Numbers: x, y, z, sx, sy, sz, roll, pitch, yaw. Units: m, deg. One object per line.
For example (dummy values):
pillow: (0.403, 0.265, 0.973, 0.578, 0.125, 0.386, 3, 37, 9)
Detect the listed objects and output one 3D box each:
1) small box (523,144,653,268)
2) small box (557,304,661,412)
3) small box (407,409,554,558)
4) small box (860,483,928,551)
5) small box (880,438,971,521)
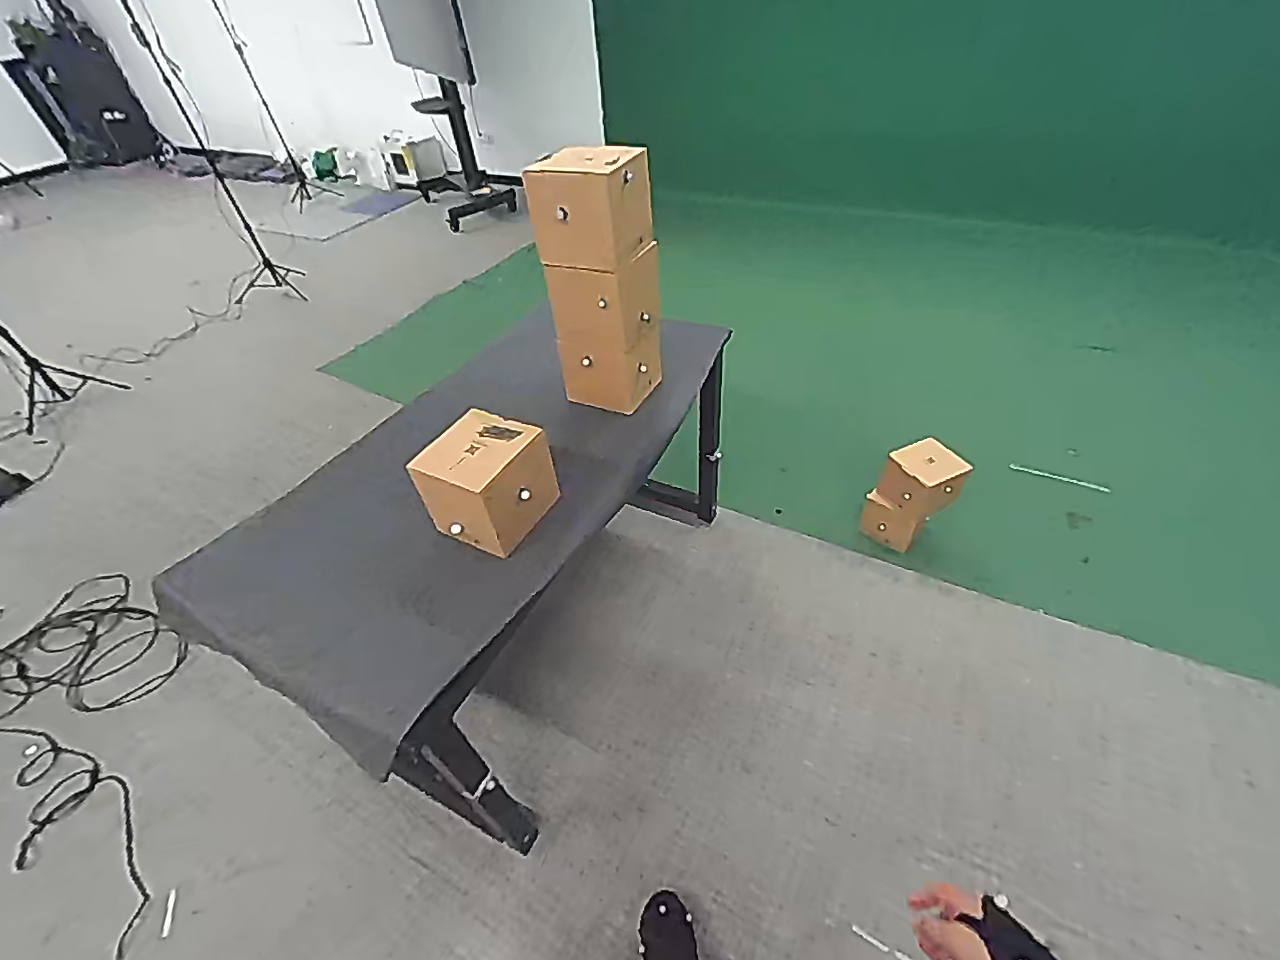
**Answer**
small box: (-0.087, -0.513, 1.012, 0.179, 0.176, 0.168, 14, 48, 21)
small box: (-0.061, -0.278, 1.240, 0.179, 0.176, 0.168, 17, 48, 23)
small box: (-0.270, 0.005, 0.966, 0.168, 0.176, 0.179, 18, 49, 23)
small box: (0.861, 0.105, 1.813, 0.168, 0.176, 0.179, 33, 55, 32)
small box: (0.876, 0.002, 1.684, 0.179, 0.176, 0.168, -20, 47, -16)
